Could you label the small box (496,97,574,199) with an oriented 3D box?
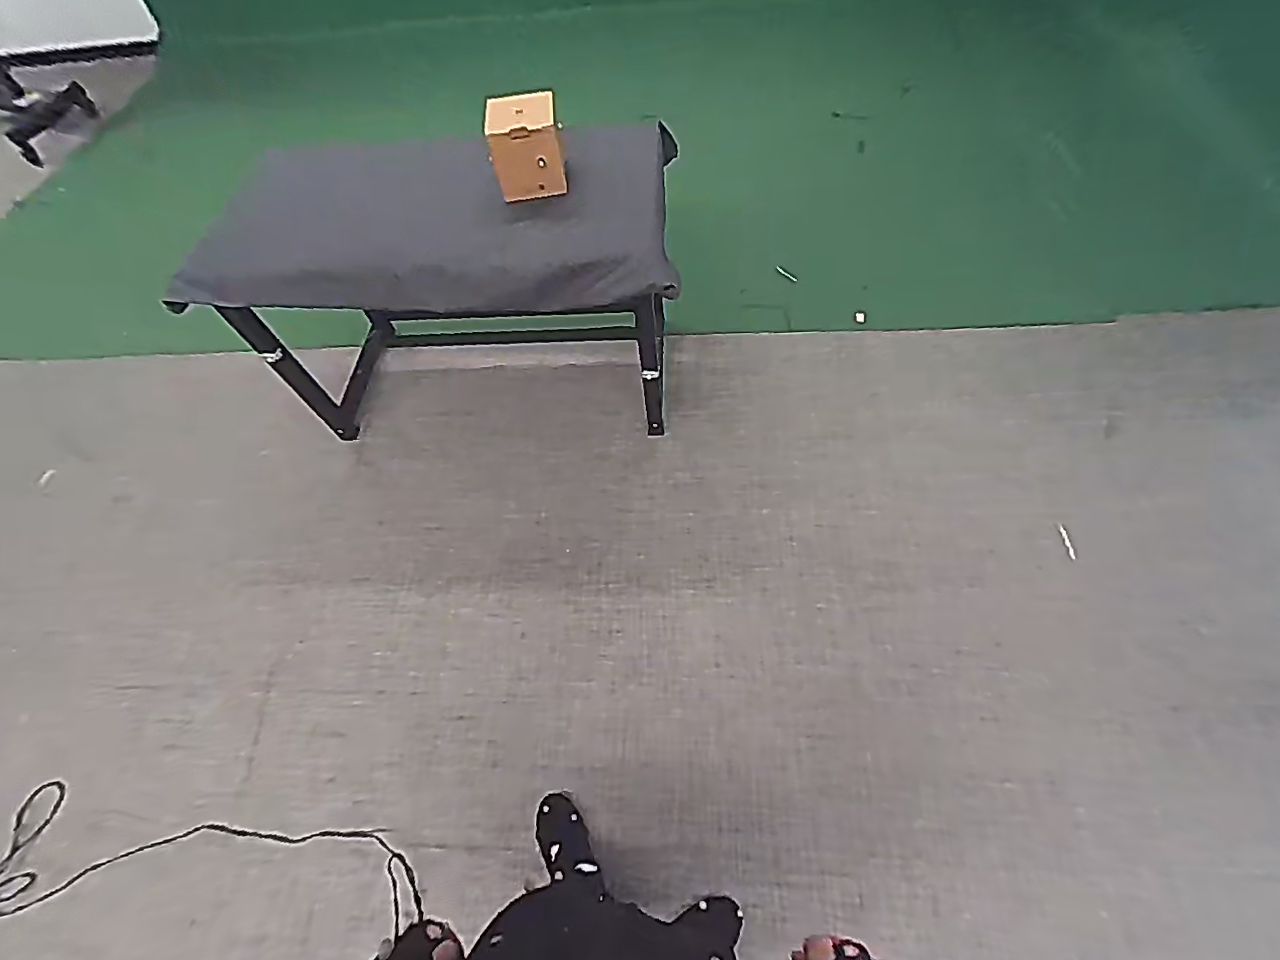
[{"bbox_3d":[-0.264,-0.844,1.388,0.168,0.176,0.179,-7,57,-1],"label":"small box"}]
